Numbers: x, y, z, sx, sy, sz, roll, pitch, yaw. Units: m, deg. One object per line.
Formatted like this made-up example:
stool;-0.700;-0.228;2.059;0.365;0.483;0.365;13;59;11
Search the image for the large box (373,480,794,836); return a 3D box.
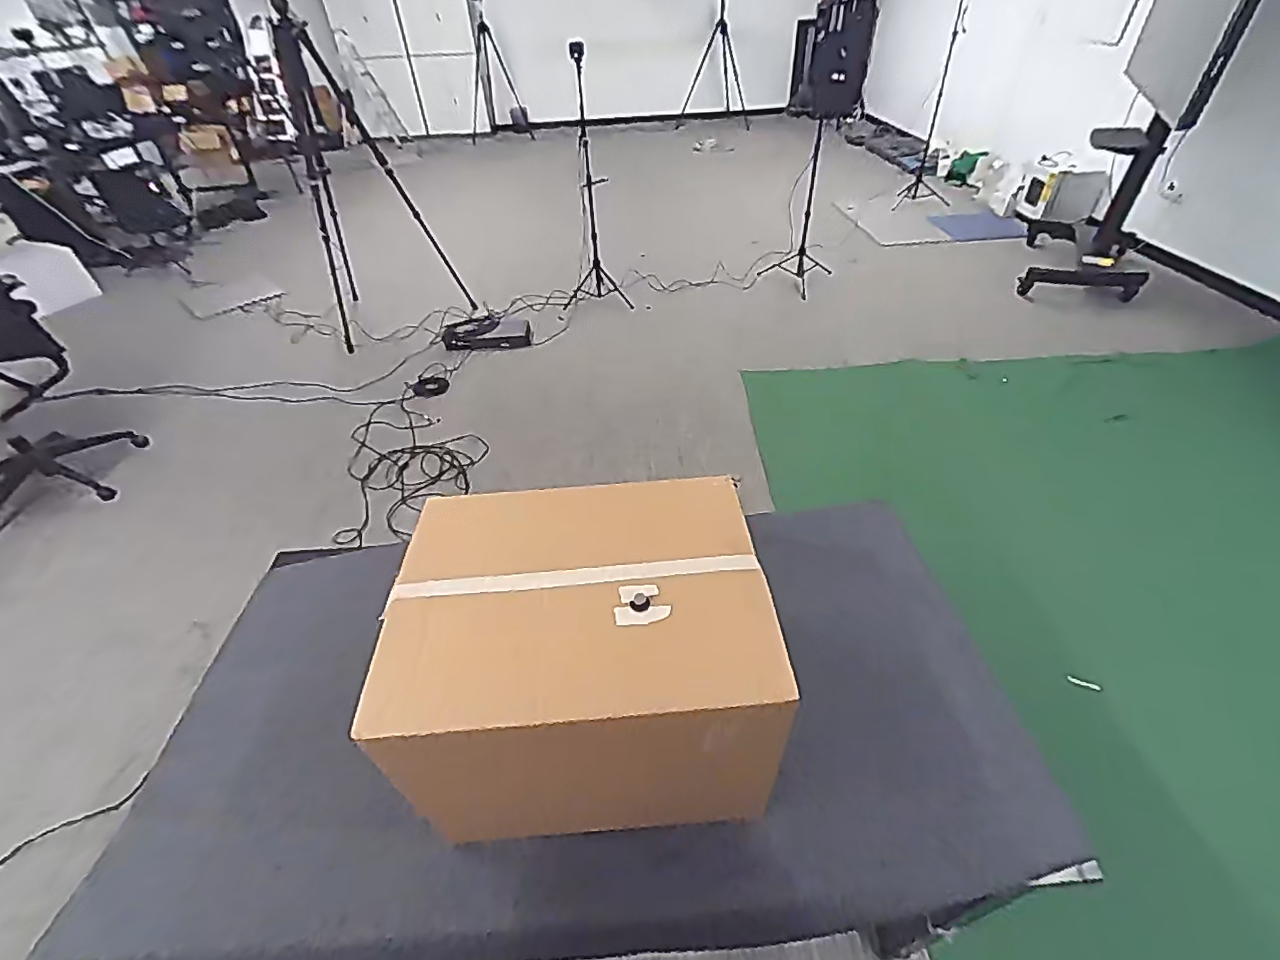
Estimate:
large box;-0.058;0.228;0.710;0.408;0.320;0.320;-4;42;-2
